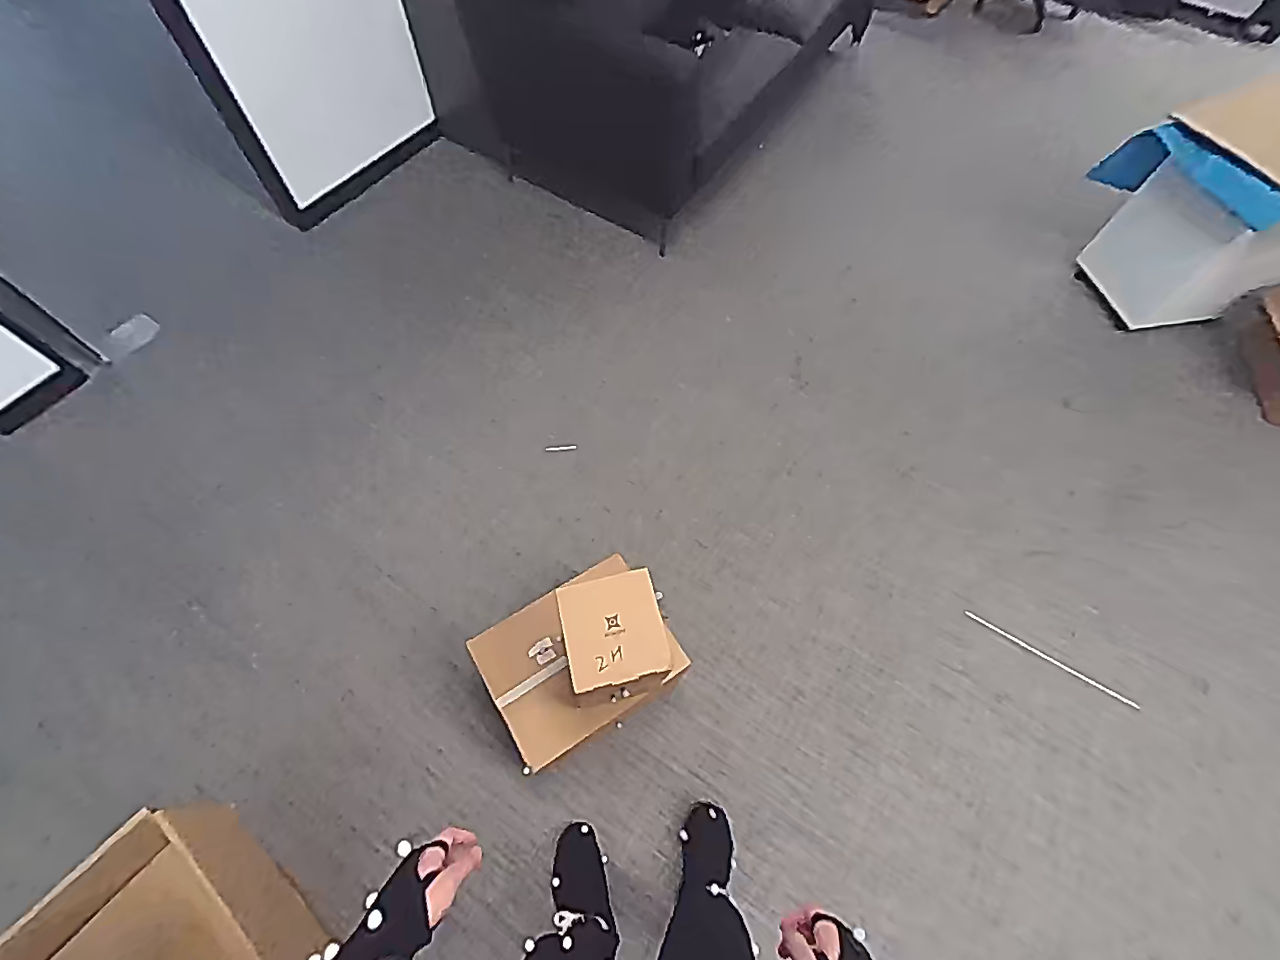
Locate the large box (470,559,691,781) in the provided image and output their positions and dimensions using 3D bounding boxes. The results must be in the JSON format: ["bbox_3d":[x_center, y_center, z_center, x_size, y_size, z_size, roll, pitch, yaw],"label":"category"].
[{"bbox_3d":[-0.134,0.464,1.325,0.408,0.320,0.320,-30,67,-16],"label":"large box"}]

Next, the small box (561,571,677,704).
[{"bbox_3d":[-0.043,0.283,0.960,0.168,0.176,0.179,-12,65,-8],"label":"small box"}]

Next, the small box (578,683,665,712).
[{"bbox_3d":[-0.053,0.361,1.106,0.168,0.176,0.179,-11,64,-8],"label":"small box"}]
